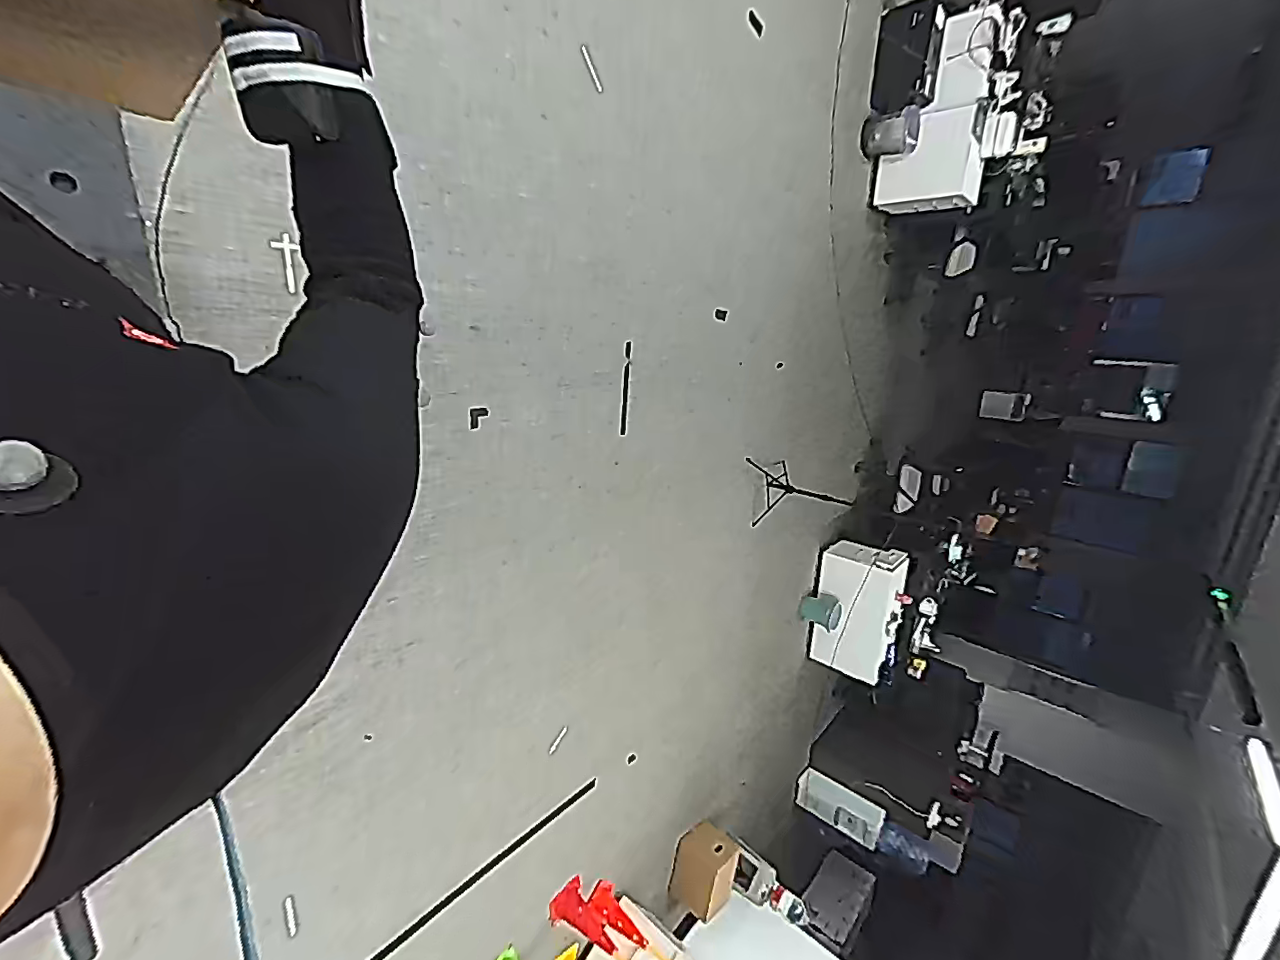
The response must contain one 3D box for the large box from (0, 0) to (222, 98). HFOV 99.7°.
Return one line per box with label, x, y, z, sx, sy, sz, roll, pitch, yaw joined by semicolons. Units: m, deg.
large box;-0.487;-0.448;0.251;0.408;0.320;0.320;-14;113;-45
